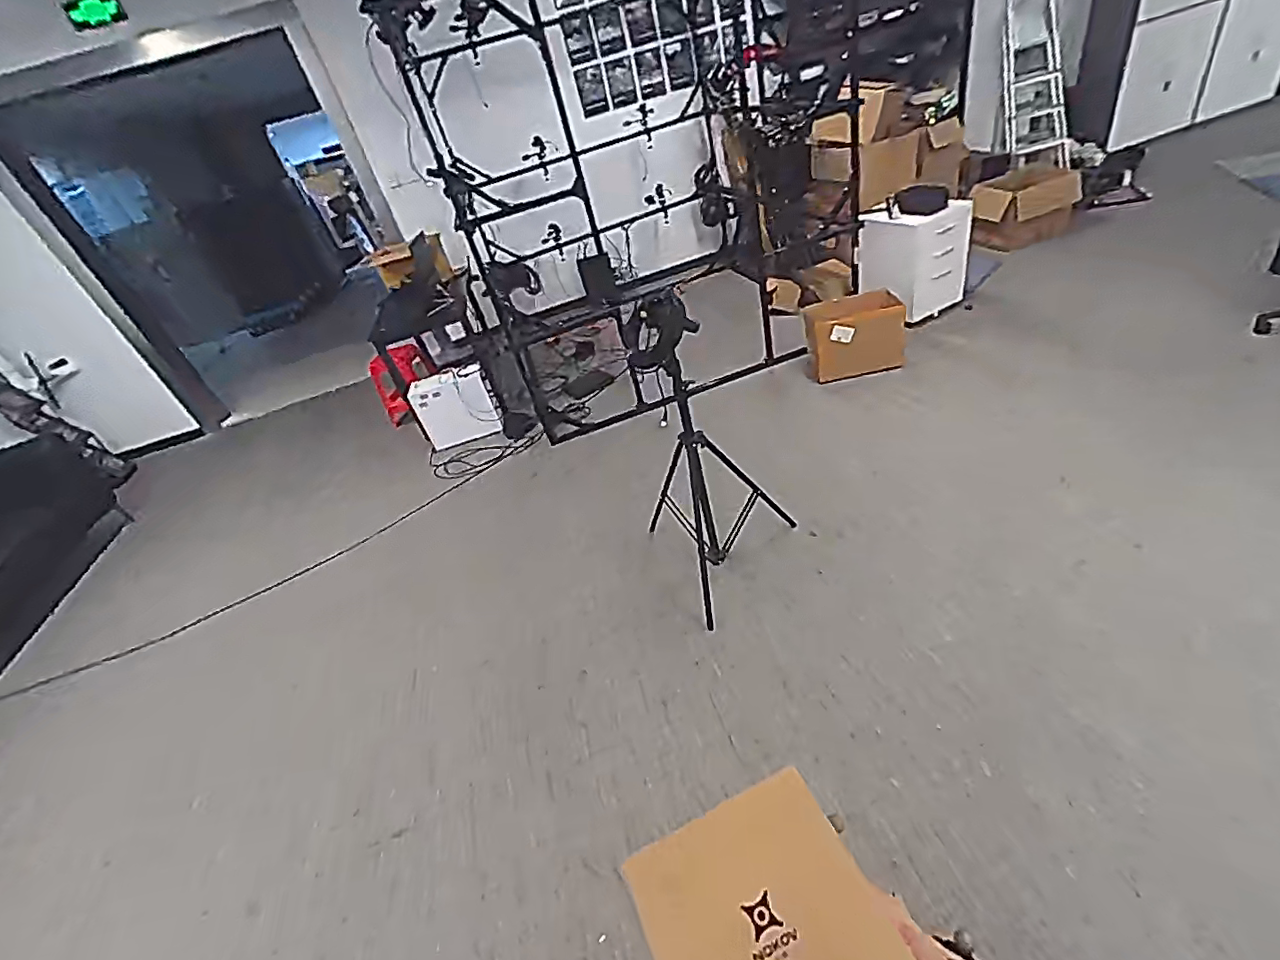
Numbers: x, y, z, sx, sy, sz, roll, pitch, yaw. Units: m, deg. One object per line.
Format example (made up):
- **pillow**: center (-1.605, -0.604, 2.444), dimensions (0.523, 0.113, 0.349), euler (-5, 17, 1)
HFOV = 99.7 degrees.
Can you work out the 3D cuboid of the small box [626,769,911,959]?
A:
- **small box**: center (0.106, 0.385, 0.441), dimensions (0.168, 0.176, 0.179), euler (-24, 42, -9)
